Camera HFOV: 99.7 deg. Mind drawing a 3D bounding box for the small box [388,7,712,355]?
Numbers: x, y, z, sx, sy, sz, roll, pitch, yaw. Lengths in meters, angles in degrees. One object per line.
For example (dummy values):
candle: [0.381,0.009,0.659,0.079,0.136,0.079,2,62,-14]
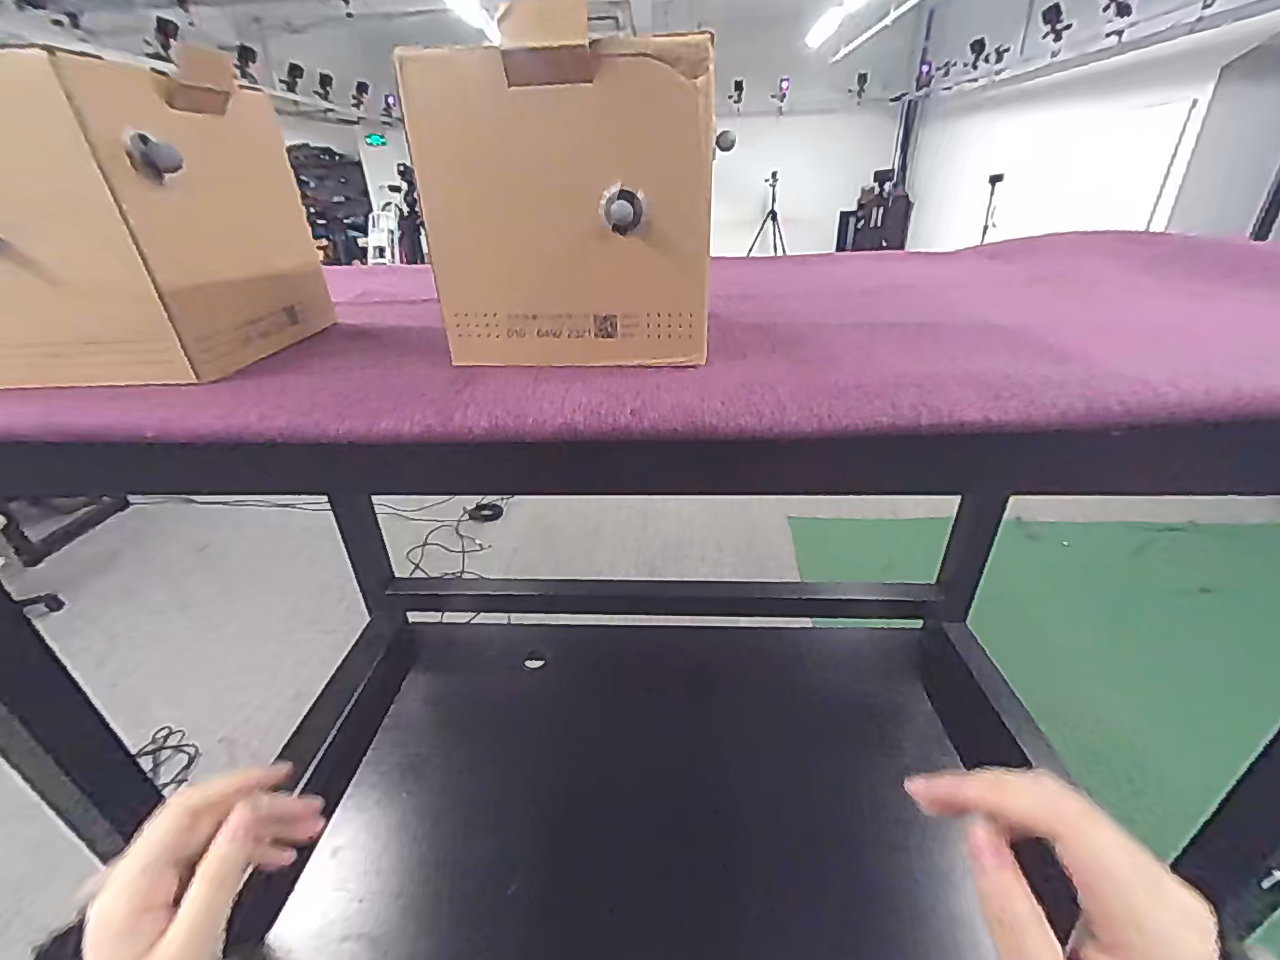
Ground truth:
small box: [-0.035,-0.188,0.371,0.168,0.176,0.179,2,28,5]
